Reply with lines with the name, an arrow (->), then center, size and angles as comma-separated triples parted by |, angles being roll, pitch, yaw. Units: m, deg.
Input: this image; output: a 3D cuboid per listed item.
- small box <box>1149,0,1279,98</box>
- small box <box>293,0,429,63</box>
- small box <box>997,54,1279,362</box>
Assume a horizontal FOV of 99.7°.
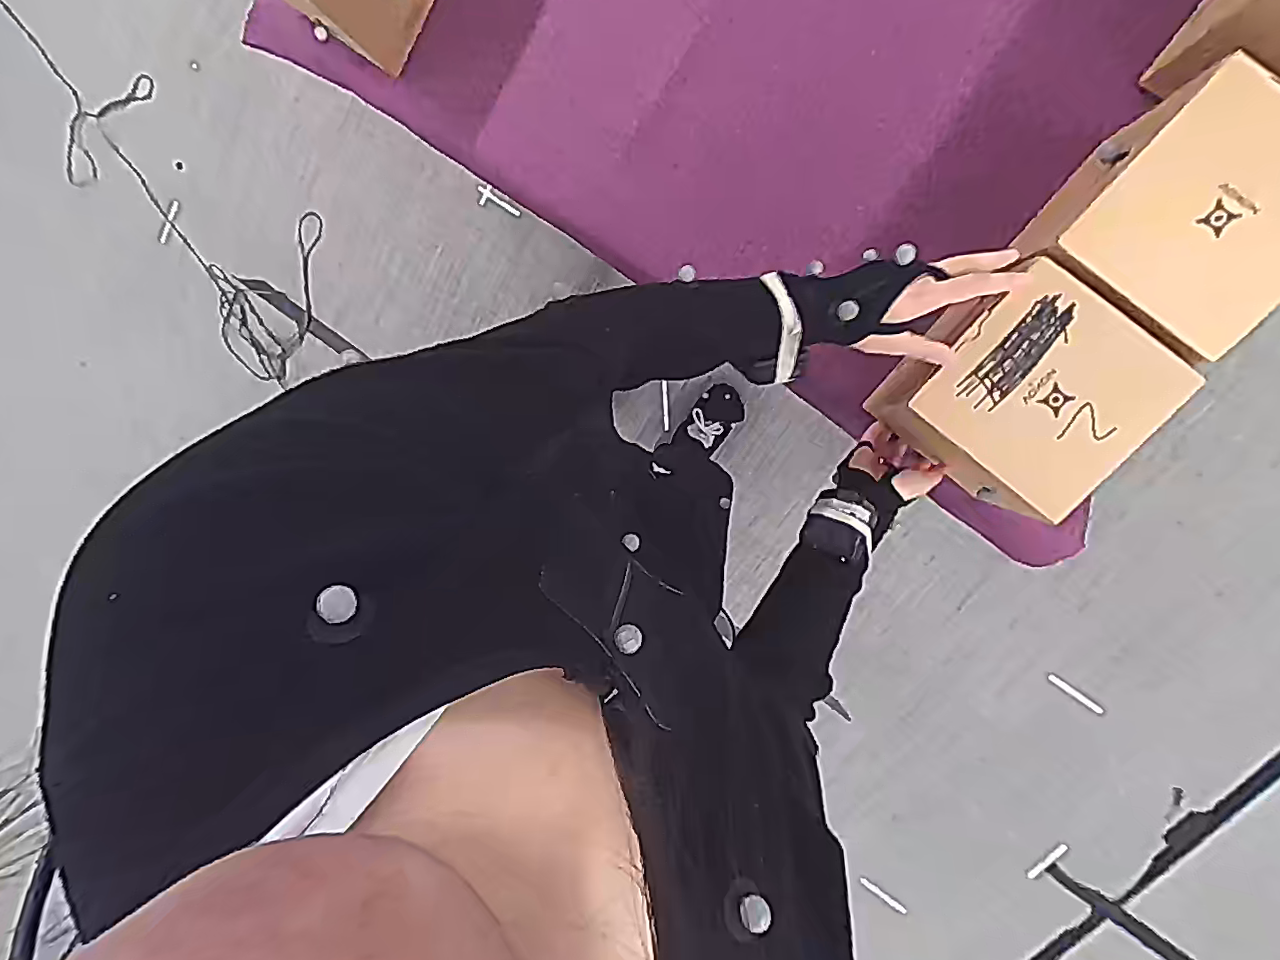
small box -> 0.605, -0.405, 0.450 | 0.179, 0.176, 0.168 | 36, 106, 3
small box -> -0.351, -0.624, 0.610 | 0.179, 0.176, 0.168 | 36, 104, 2
small box -> 0.484, -0.229, 0.514 | 0.168, 0.176, 0.179 | 40, 104, 3
